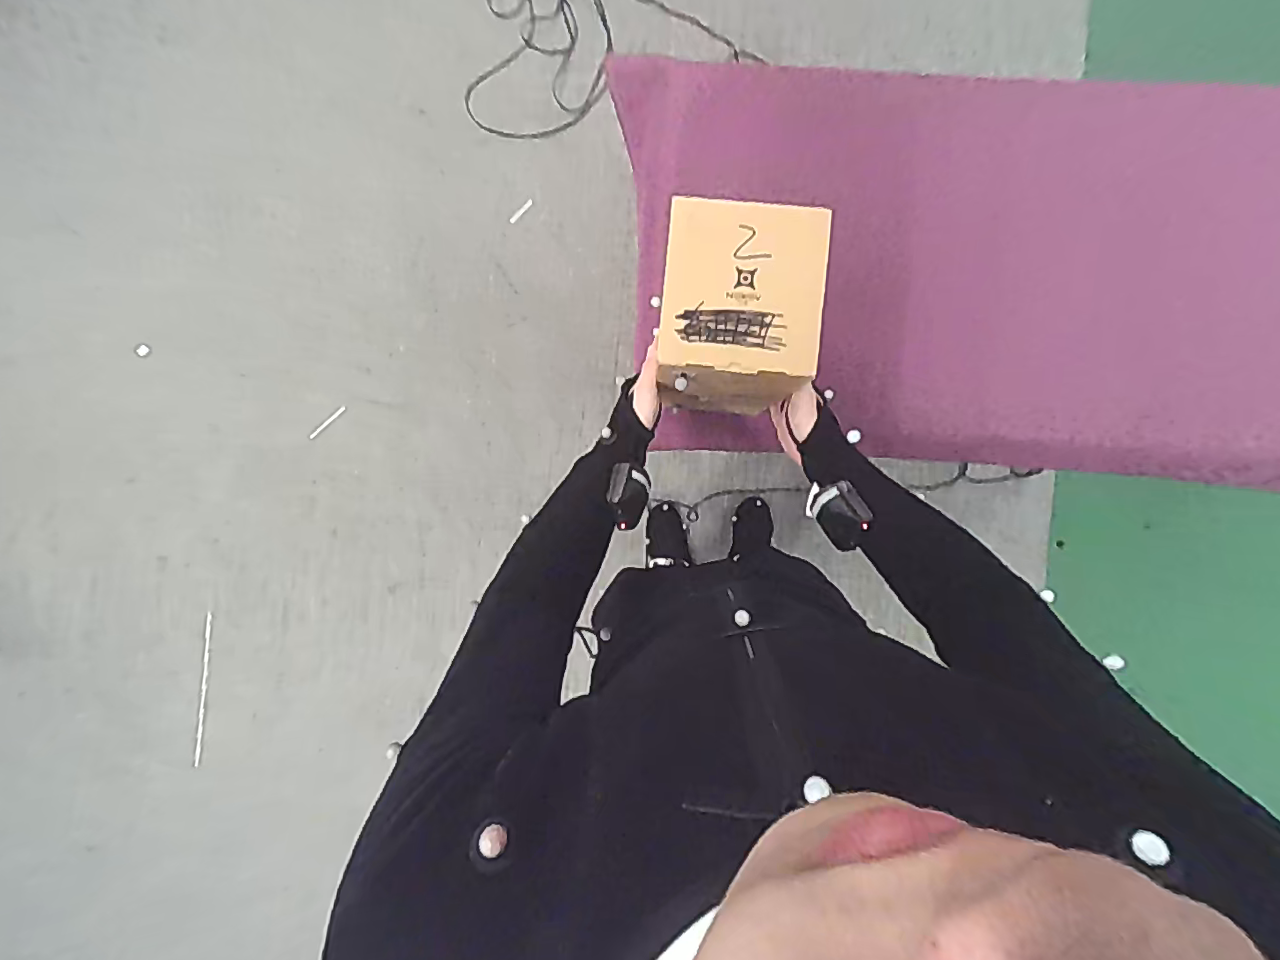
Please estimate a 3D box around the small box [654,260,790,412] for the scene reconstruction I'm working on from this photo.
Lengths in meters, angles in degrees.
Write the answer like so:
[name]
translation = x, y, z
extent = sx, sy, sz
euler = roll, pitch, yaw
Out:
[small box]
translation = 0.112, -0.199, 0.795
extent = 0.168, 0.176, 0.179
euler = 5, 90, 2
